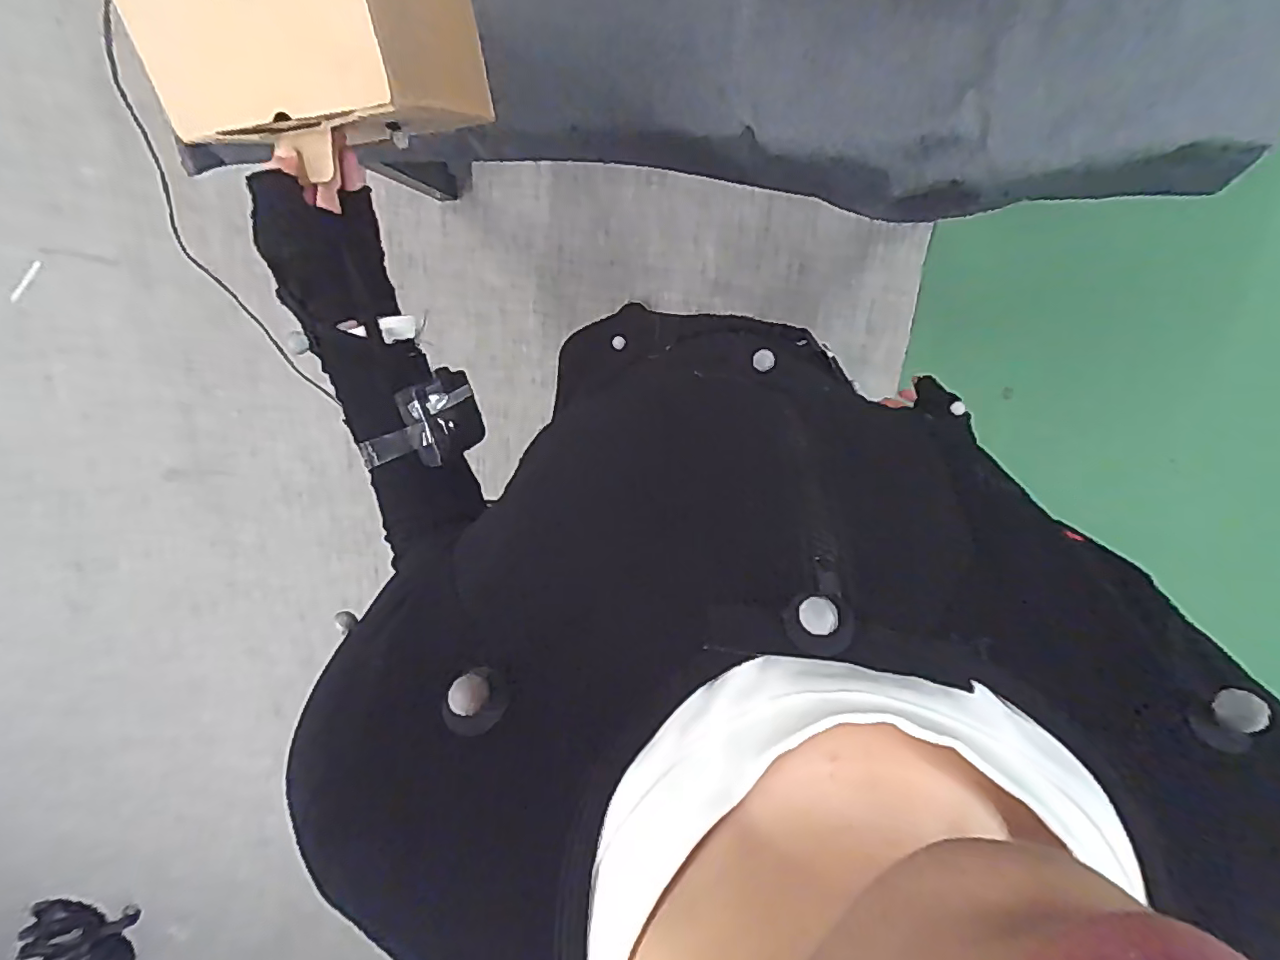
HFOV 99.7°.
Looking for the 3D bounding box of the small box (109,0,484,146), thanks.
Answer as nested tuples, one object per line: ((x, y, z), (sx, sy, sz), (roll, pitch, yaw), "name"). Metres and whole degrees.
((-0.228, -0.342, 0.372), (0.168, 0.176, 0.179), (-2, 120, 10), "small box")
